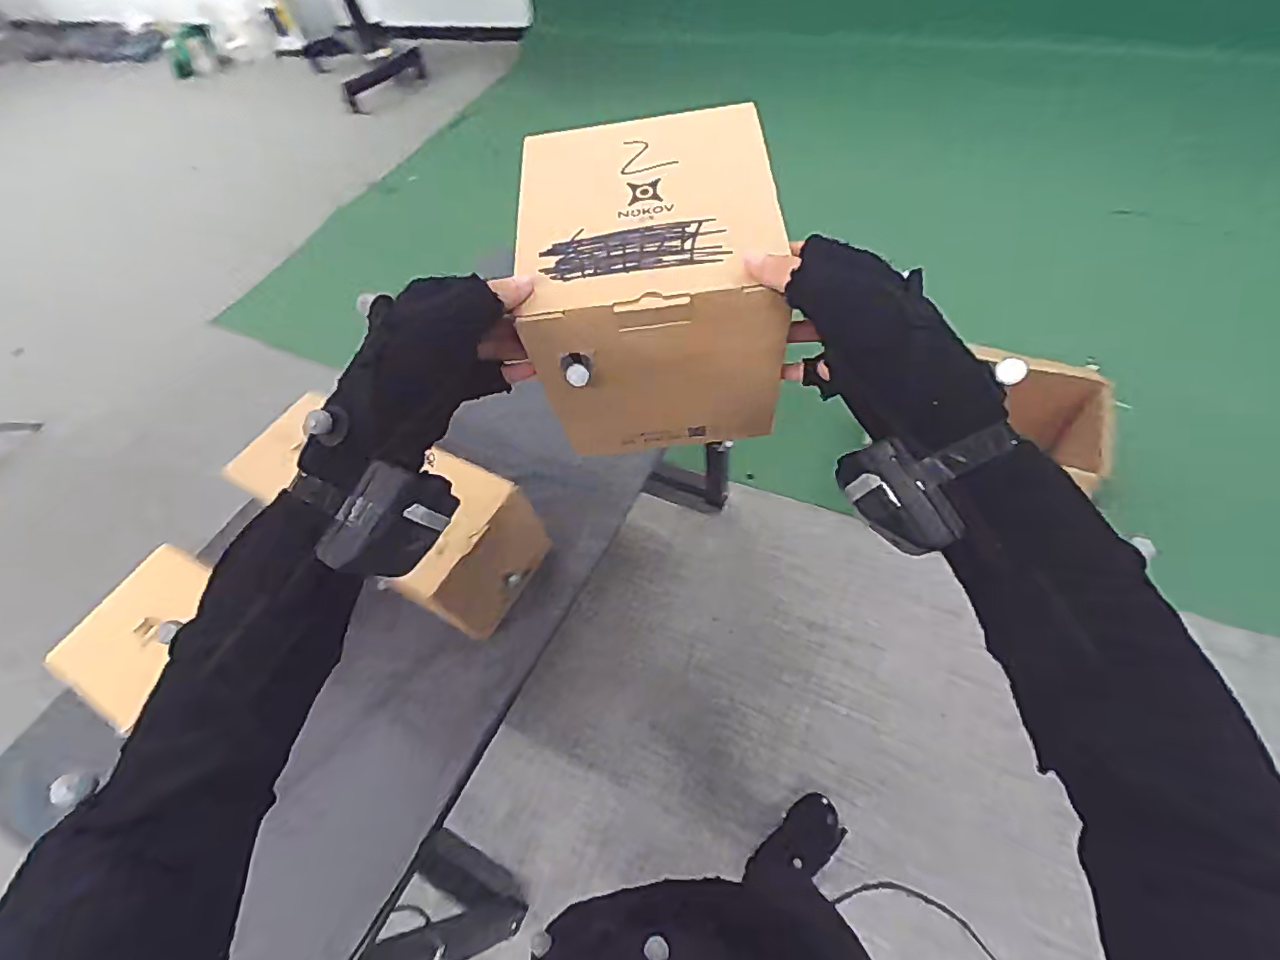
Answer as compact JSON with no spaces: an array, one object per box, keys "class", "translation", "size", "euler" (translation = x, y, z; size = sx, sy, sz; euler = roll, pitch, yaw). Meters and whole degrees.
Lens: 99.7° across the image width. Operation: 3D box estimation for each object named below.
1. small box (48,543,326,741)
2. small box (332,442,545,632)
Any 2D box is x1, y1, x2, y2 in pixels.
[{"class":"small box","translation":[-0.561,0.213,0.694],"size":[0.179,0.176,0.168],"euler":[21,63,19]},{"class":"small box","translation":[-0.258,0.082,0.732],"size":[0.179,0.176,0.168],"euler":[22,63,21]}]
